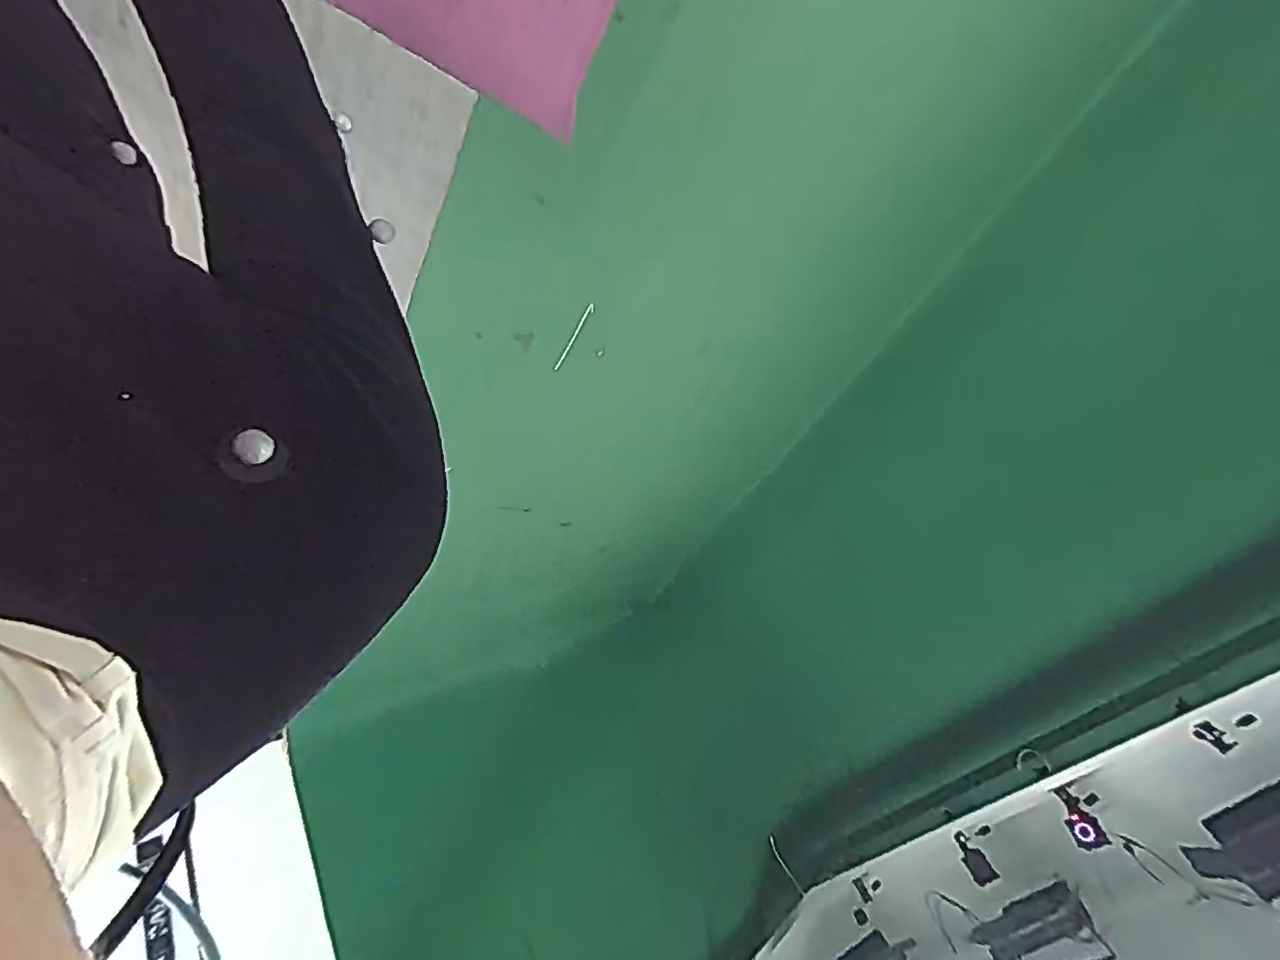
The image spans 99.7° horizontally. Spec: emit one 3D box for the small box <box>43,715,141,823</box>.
[{"bbox_3d":[-1.457,0.766,1.445,0.179,0.176,0.168,-3,138,-45],"label":"small box"}]

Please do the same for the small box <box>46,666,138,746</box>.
[{"bbox_3d":[-1.542,0.649,1.523,0.179,0.176,0.168,-1,136,-45],"label":"small box"}]
